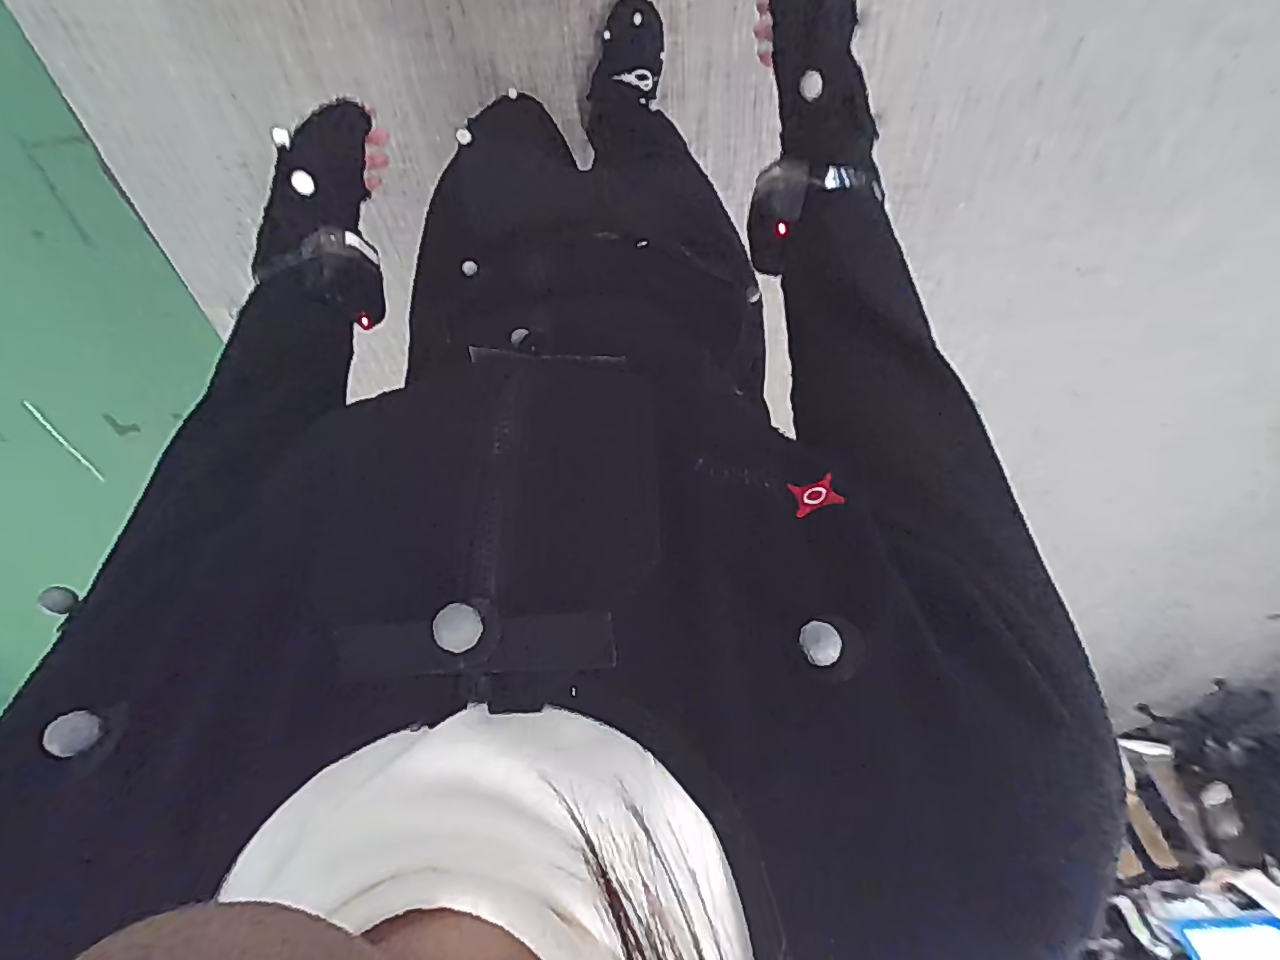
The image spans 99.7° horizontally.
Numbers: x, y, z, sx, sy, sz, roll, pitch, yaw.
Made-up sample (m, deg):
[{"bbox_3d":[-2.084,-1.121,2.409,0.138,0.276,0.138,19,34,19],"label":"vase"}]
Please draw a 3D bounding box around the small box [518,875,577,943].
[{"bbox_3d":[-0.317,1.499,1.889,0.168,0.176,0.179,-5,134,2],"label":"small box"}]

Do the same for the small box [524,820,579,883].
[{"bbox_3d":[-0.321,1.382,2.006,0.168,0.176,0.179,-6,133,3],"label":"small box"}]
